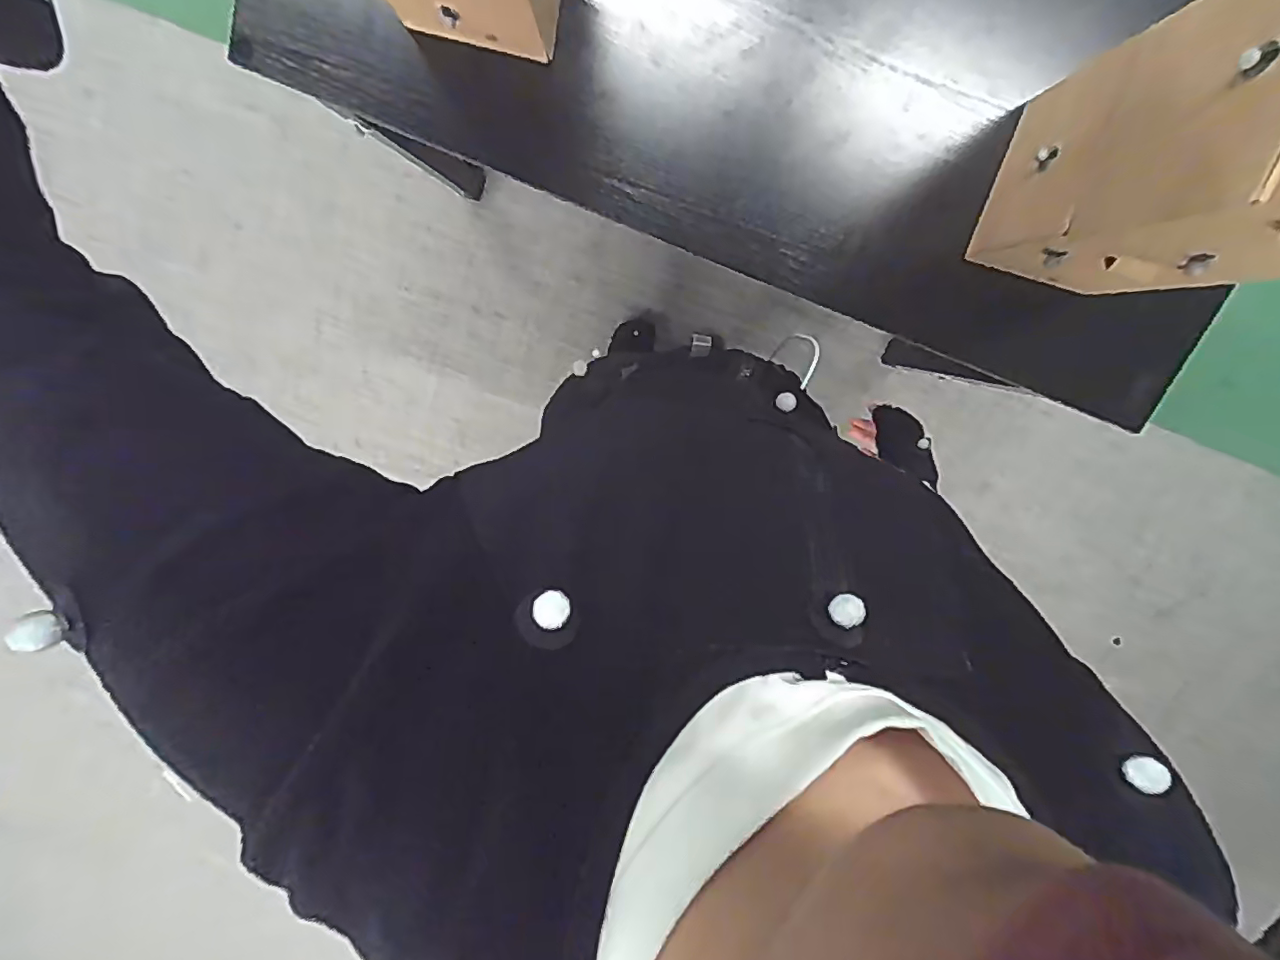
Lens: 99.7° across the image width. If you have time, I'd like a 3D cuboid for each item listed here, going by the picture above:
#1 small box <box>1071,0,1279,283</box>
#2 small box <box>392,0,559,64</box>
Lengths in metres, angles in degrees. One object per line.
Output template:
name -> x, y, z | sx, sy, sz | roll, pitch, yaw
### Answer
small box -> 0.487, -0.261, 0.409 | 0.168, 0.176, 0.179 | 12, 106, -3
small box -> -0.162, -0.541, 0.504 | 0.168, 0.176, 0.179 | 11, 107, -4
